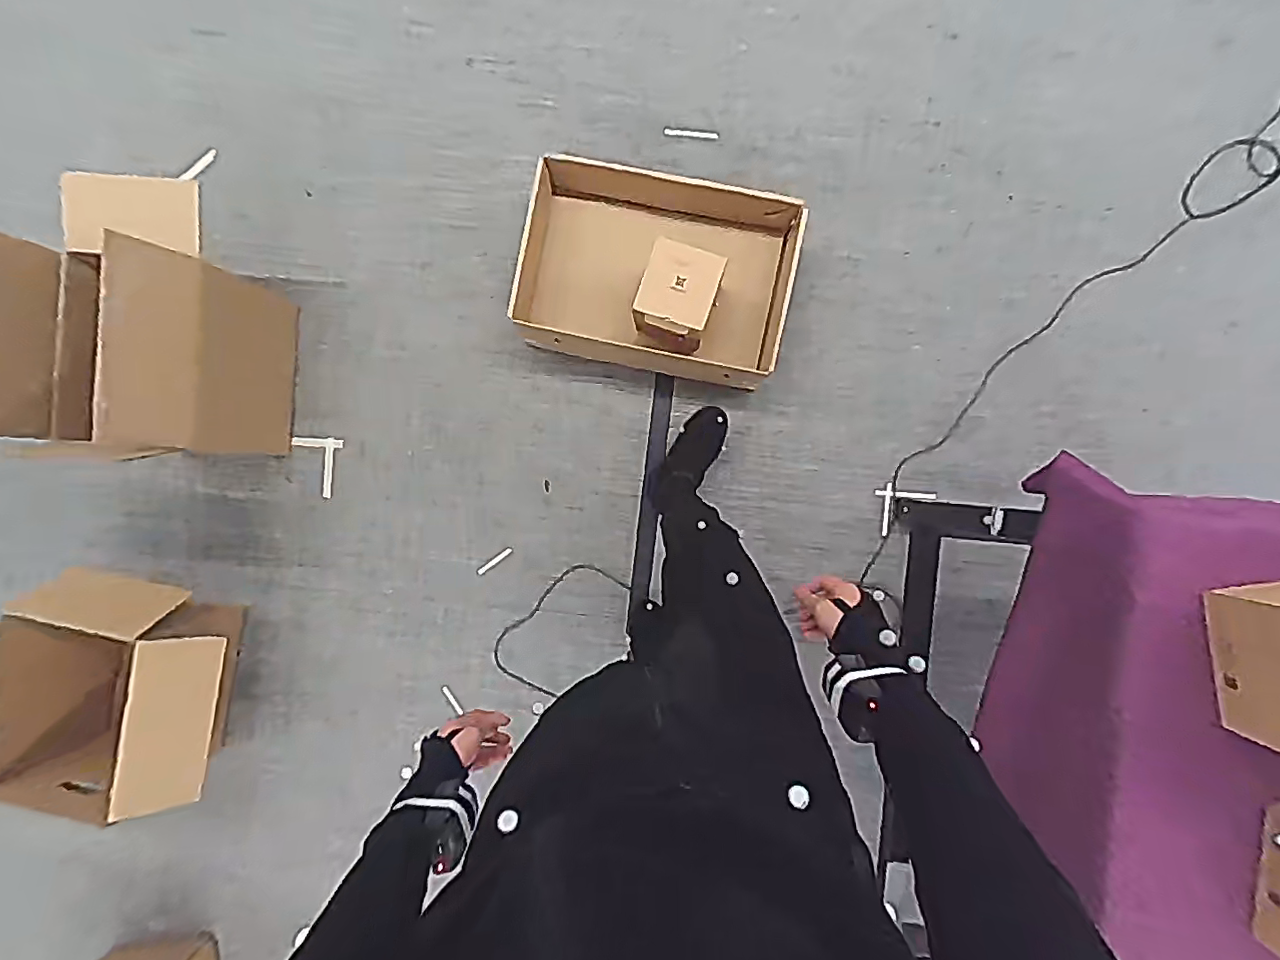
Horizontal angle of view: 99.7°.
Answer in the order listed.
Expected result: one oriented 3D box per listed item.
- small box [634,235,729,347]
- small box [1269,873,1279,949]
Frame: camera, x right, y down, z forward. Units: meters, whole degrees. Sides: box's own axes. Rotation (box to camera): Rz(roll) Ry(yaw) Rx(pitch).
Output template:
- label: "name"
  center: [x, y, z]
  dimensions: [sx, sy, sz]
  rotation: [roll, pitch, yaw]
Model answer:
- label: "small box"
  center: [0.096, -0.429, 1.255]
  dimensions: [0.168, 0.176, 0.179]
  rotation: [20, 91, 2]
- label: "small box"
  center: [0.822, 0.473, 0.551]
  dimensions: [0.179, 0.176, 0.168]
  rotation: [6, 91, 1]
